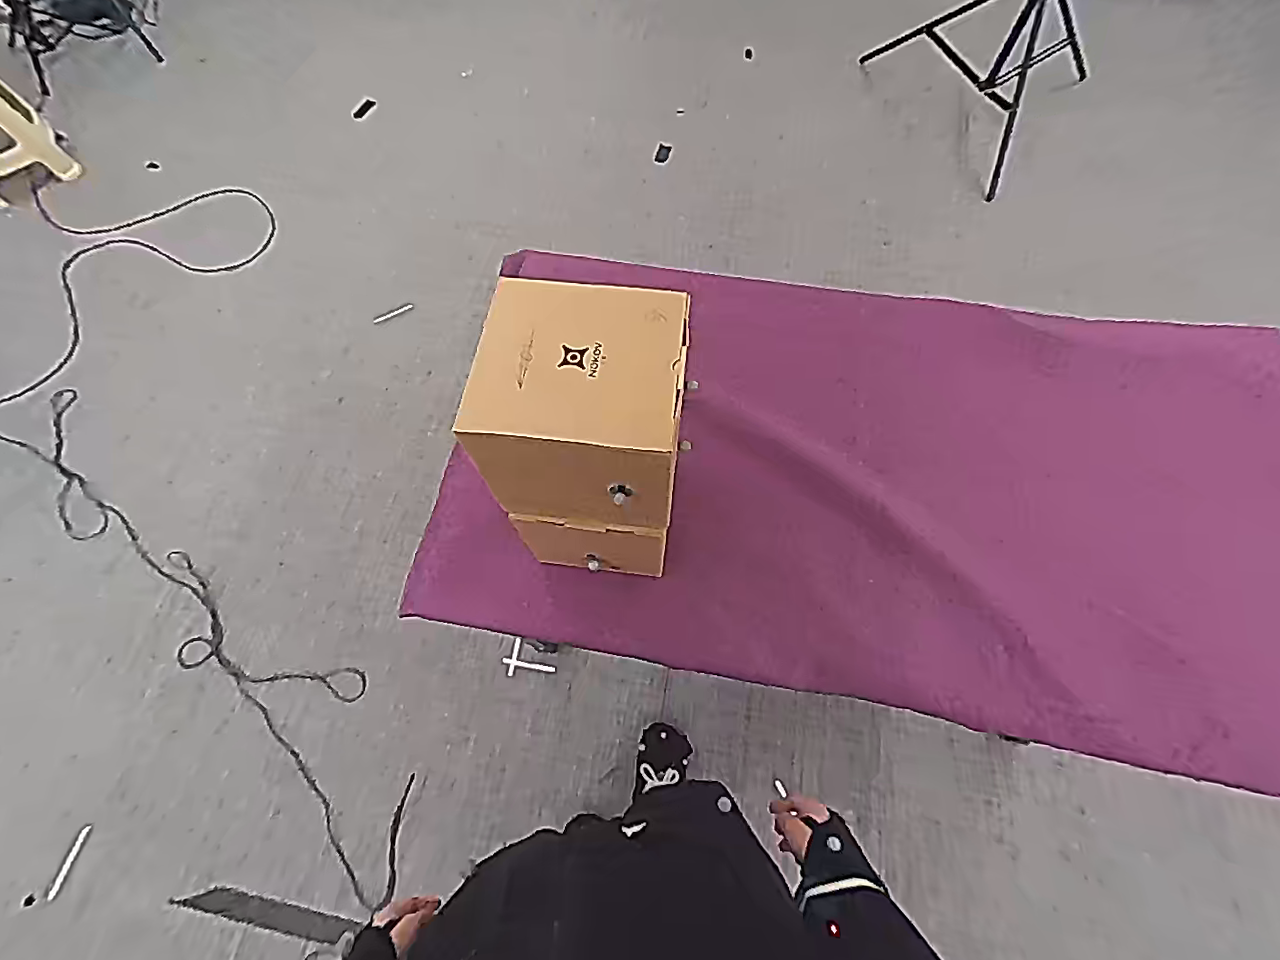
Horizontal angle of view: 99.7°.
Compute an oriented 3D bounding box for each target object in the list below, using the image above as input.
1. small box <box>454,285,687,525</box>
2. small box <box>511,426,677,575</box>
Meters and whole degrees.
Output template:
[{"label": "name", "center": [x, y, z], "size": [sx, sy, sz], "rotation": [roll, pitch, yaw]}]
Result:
[{"label": "small box", "center": [-0.051, -0.063, 0.530], "size": [0.179, 0.176, 0.168], "rotation": [5, 64, 5]}, {"label": "small box", "center": [-0.046, 0.005, 0.677], "size": [0.168, 0.176, 0.179], "rotation": [6, 66, 5]}]
